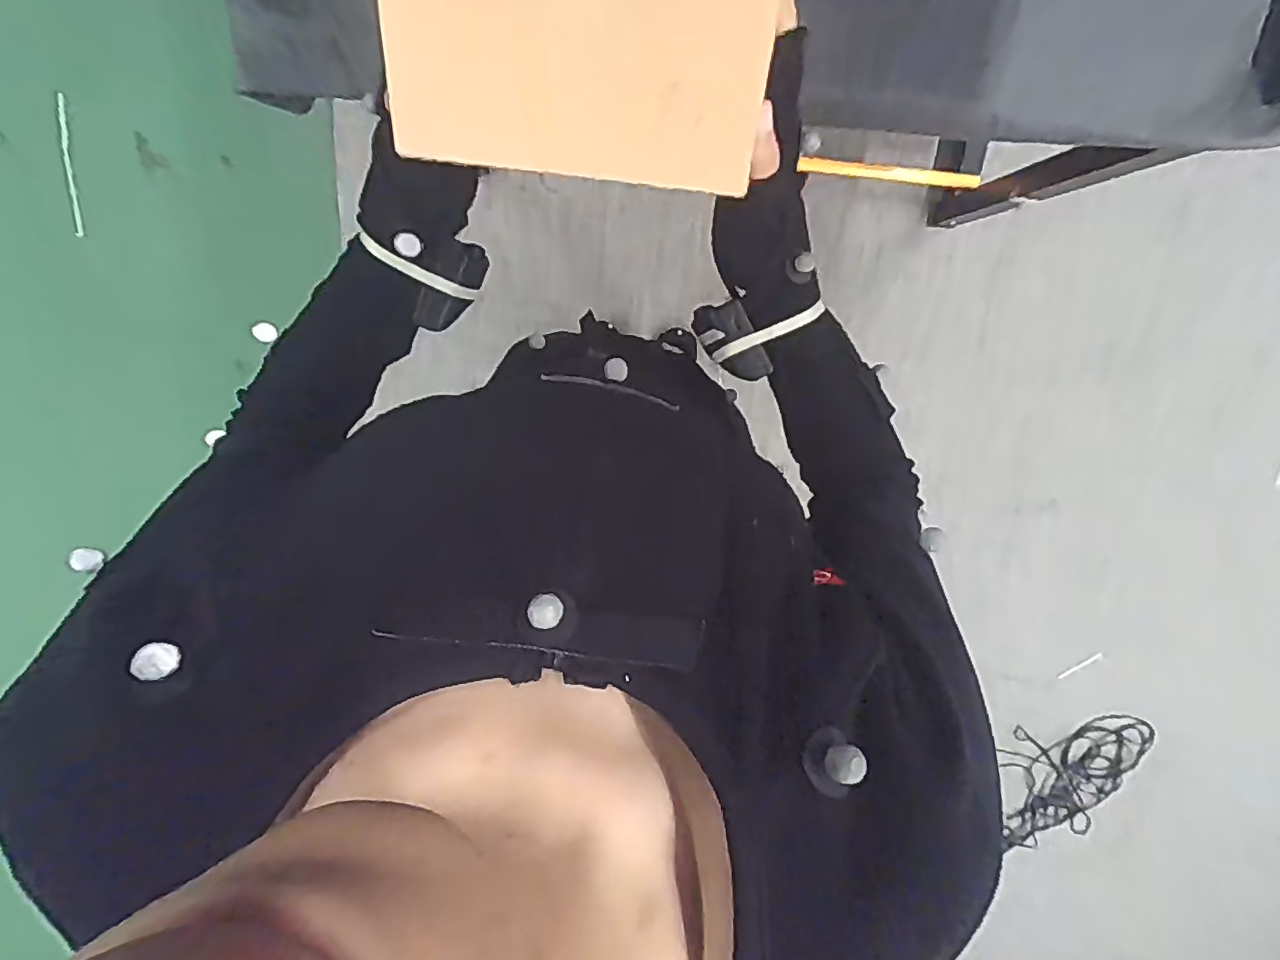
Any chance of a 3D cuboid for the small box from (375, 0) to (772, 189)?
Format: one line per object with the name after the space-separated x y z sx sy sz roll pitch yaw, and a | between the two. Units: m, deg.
-0.020 -0.260 0.273 0.168 0.176 0.179 6 122 -1 | small box
